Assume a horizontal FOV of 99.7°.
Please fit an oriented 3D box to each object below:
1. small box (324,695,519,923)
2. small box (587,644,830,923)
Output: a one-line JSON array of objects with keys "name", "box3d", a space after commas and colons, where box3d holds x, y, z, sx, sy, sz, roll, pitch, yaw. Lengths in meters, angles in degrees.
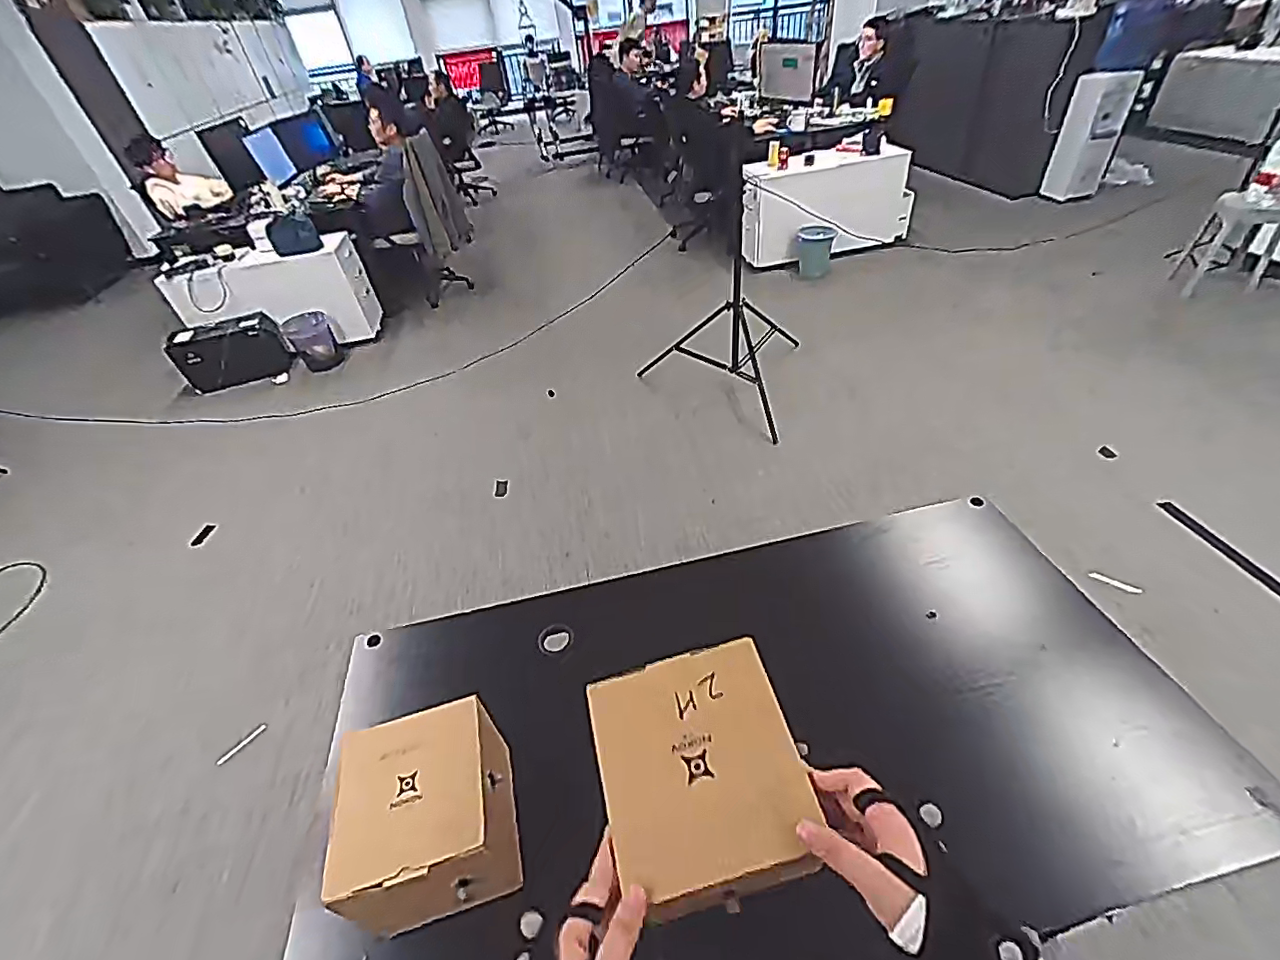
[{"name": "small box", "box3d": [-0.253, 0.405, 0.661, 0.168, 0.176, 0.179, -15, 41, -9]}, {"name": "small box", "box3d": [0.061, 0.291, 0.515, 0.168, 0.176, 0.179, -17, 47, -2]}]
